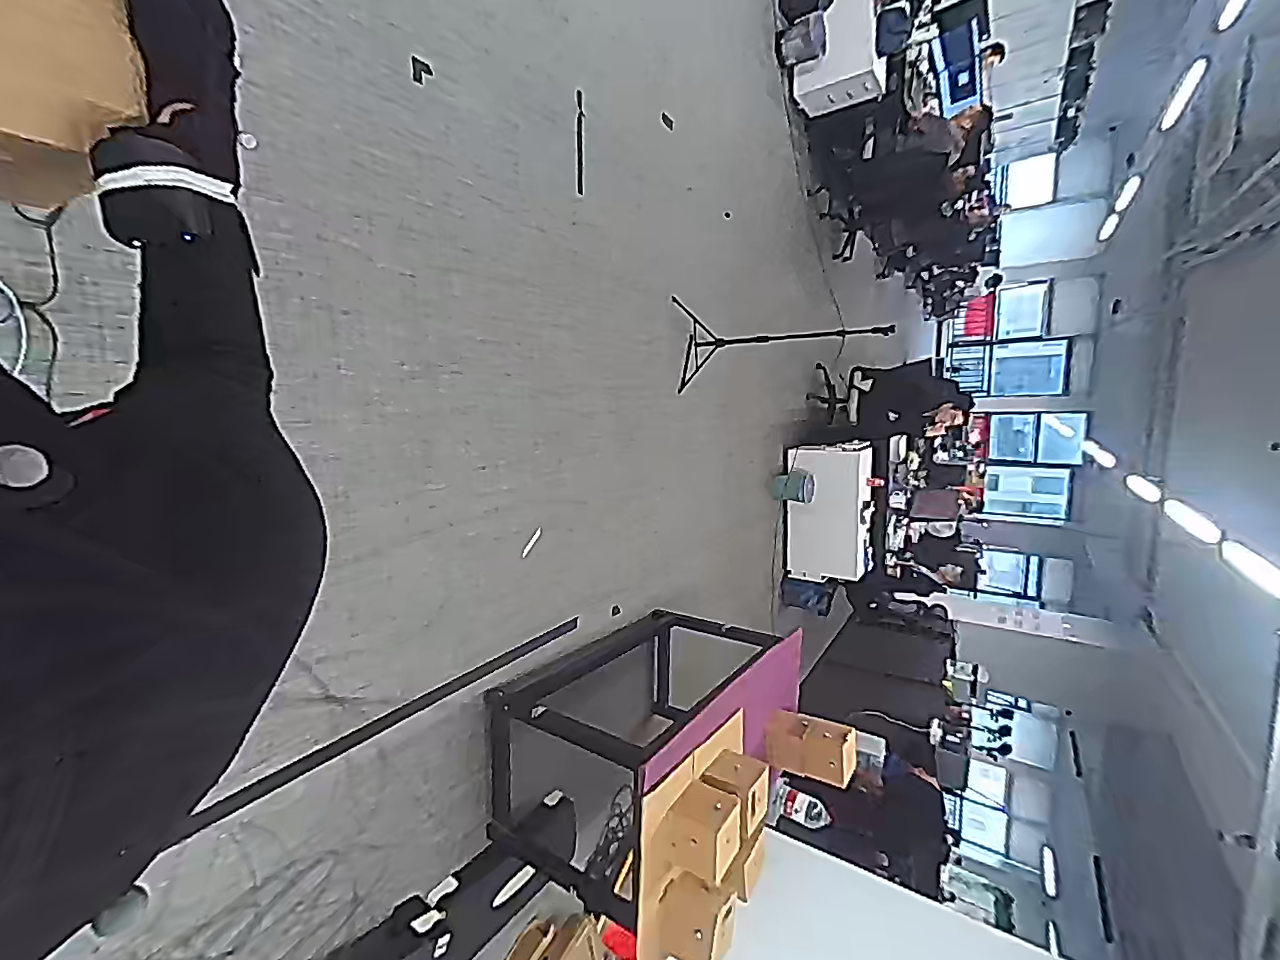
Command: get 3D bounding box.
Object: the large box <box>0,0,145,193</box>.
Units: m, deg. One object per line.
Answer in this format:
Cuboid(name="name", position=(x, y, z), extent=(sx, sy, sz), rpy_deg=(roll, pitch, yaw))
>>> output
Cuboid(name="large box", position=(-0.592, -0.390, 0.289), extent=(0.408, 0.320, 0.320), rpy_deg=(-12, 111, -56))
